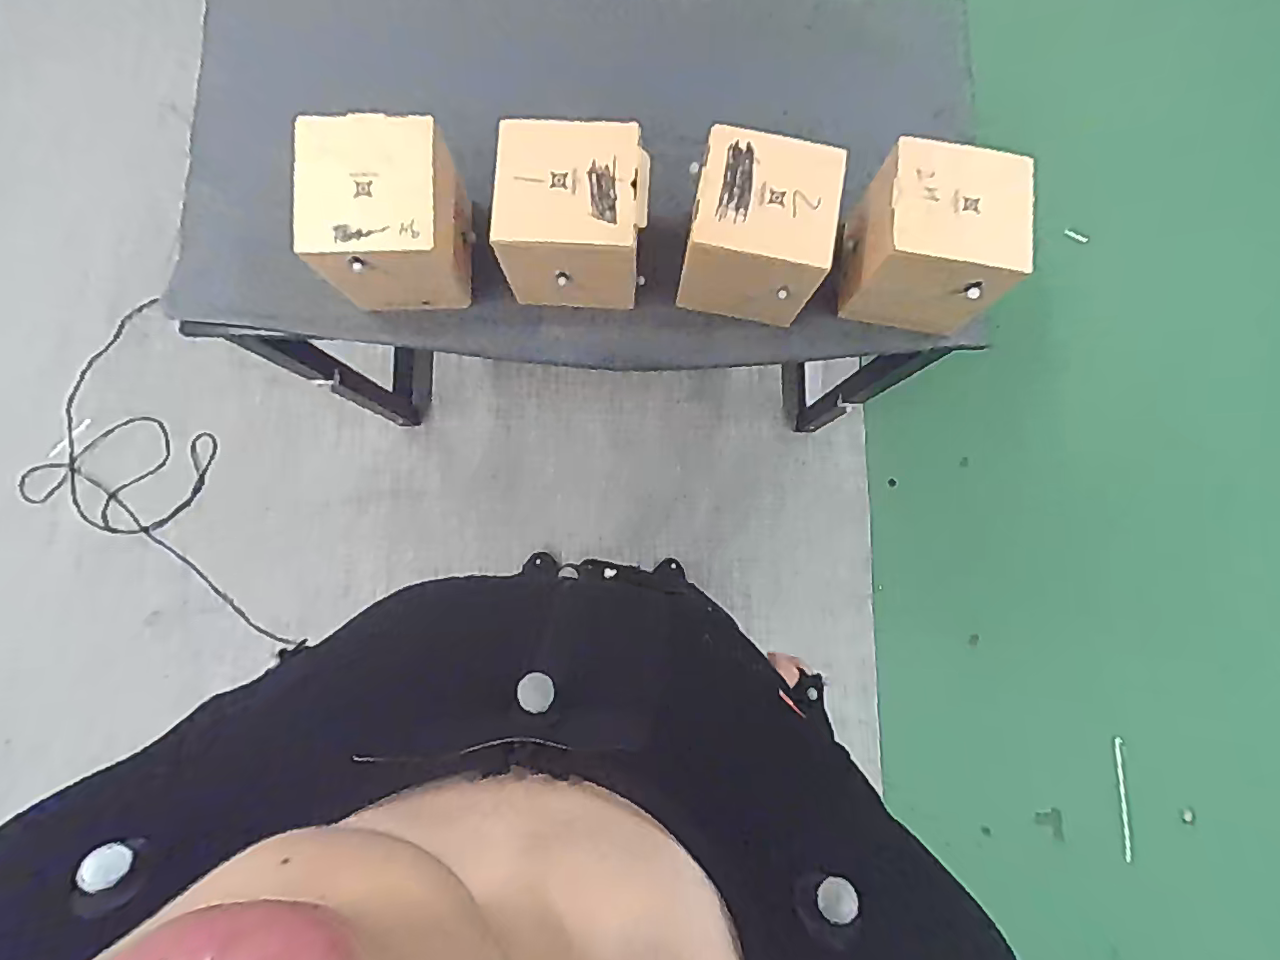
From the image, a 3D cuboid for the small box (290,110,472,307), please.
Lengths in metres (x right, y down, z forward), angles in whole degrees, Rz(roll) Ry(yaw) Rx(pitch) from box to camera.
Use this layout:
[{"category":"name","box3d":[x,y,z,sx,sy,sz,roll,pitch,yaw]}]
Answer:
[{"category":"small box","box3d":[-0.331,-0.351,0.724,0.168,0.176,0.179,-1,84,-1]}]
